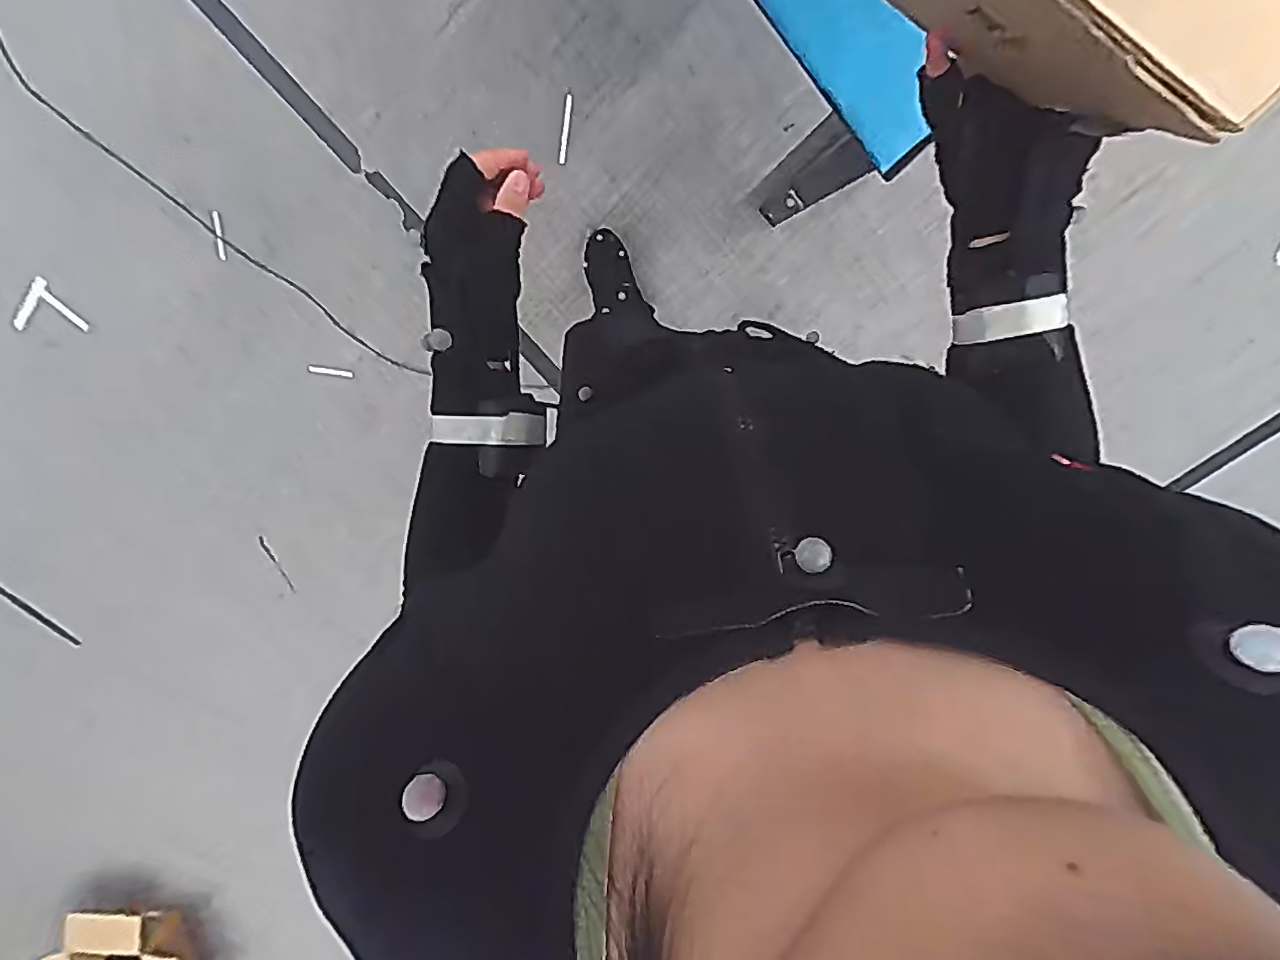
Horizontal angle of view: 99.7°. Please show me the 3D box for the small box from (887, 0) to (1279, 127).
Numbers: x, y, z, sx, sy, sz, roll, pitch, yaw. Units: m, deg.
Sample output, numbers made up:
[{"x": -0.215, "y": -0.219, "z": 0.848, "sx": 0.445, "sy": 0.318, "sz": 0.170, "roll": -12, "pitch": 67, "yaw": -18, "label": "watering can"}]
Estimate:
[{"x": 0.212, "y": -0.291, "z": 0.228, "sx": 0.179, "sy": 0.168, "sz": 0.176, "roll": 22, "pitch": 126, "yaw": -16, "label": "small box"}]
